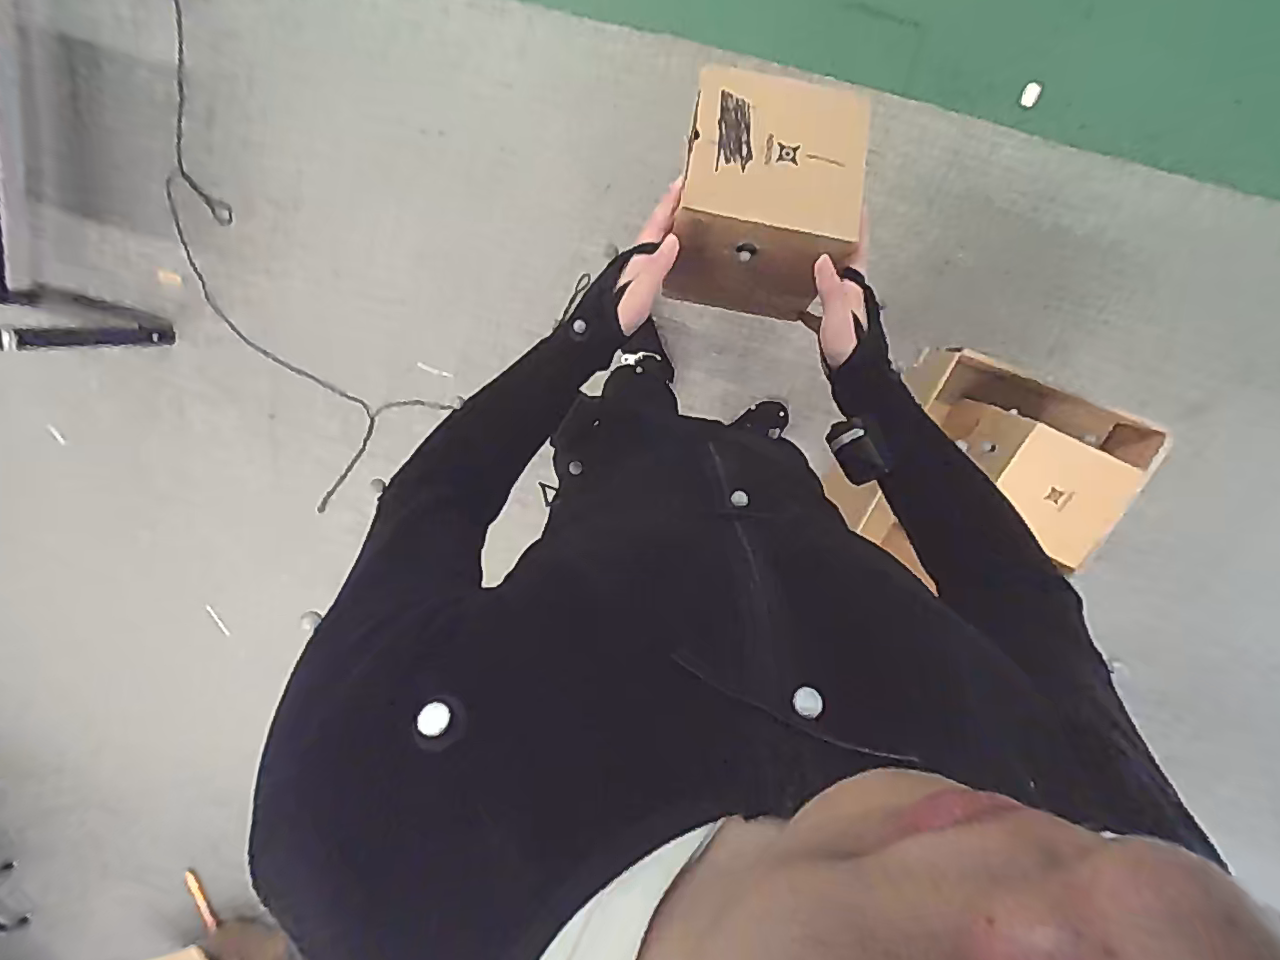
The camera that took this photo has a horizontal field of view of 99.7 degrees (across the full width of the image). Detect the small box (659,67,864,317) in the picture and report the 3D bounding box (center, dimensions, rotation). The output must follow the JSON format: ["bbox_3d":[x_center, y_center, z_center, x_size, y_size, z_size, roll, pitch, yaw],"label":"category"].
[{"bbox_3d":[0.122,-0.302,0.603,0.179,0.176,0.168,10,80,-3],"label":"small box"}]

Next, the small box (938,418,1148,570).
[{"bbox_3d":[0.621,0.011,0.865,0.179,0.176,0.168,26,107,2],"label":"small box"}]
